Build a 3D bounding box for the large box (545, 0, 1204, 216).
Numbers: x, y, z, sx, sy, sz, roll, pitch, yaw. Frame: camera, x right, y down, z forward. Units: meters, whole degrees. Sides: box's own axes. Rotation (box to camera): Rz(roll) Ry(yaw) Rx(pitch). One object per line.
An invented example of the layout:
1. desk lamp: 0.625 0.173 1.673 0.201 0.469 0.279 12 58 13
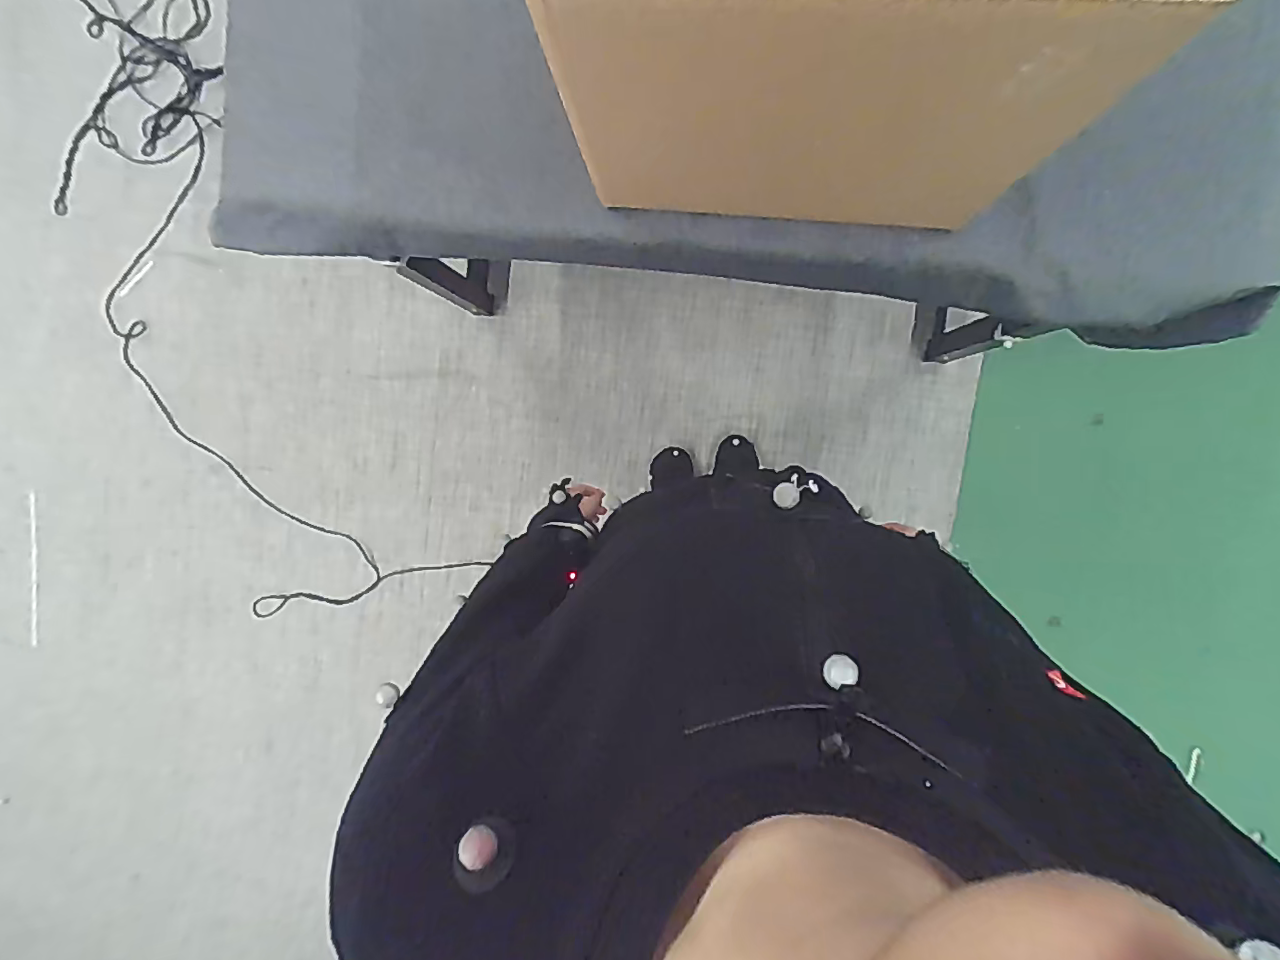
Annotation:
1. large box: 0.152 -0.447 0.457 0.408 0.320 0.320 5 95 4
